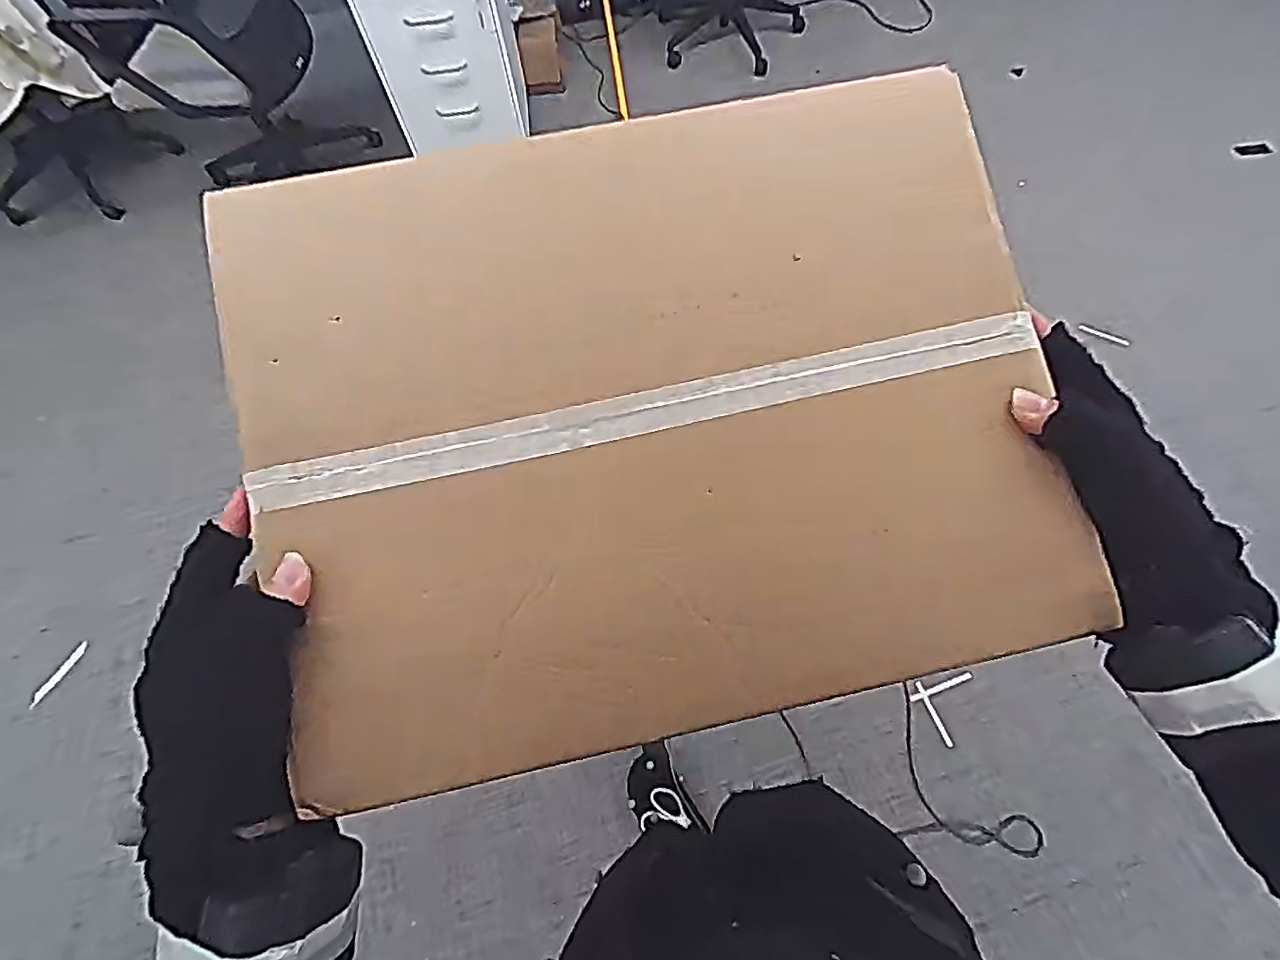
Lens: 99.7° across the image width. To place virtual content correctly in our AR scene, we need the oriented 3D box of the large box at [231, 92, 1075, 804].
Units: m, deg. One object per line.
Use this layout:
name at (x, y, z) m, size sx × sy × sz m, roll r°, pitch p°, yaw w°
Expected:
large box at (0.003, -0.019, 0.433) m, size 0.408 × 0.320 × 0.320 m, roll -12°, pitch 84°, yaw -3°
